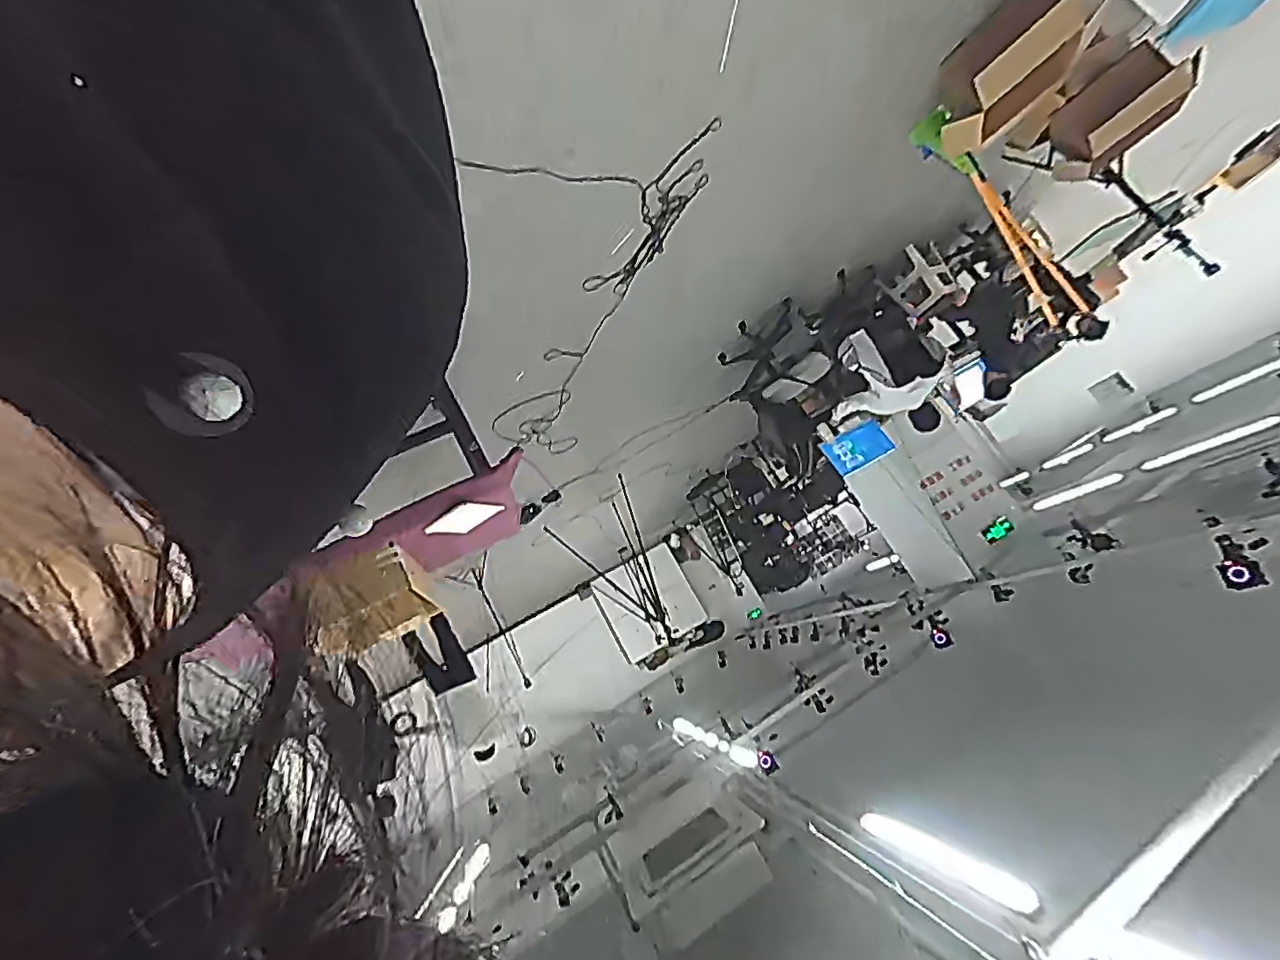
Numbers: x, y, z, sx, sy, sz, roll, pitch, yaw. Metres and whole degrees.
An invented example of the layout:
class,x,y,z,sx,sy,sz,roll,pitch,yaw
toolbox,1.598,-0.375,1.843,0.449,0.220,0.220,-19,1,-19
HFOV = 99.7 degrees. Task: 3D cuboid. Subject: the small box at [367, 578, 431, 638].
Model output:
class,x,y,z,sx,sy,sz,roll,pitch,yaw
small box,-0.970,0.513,2.177,0.168,0.176,0.179,-26,164,-17
